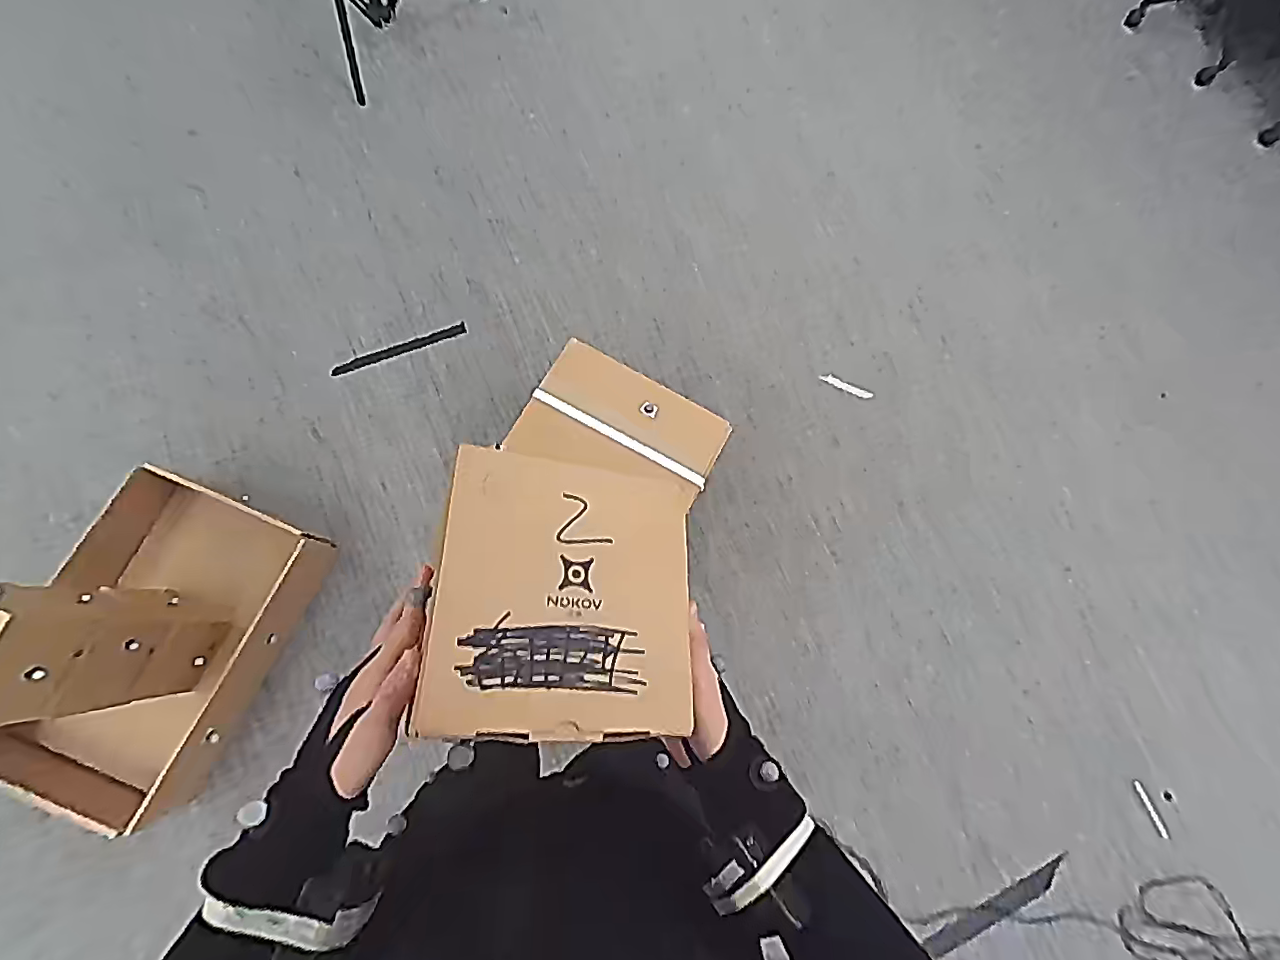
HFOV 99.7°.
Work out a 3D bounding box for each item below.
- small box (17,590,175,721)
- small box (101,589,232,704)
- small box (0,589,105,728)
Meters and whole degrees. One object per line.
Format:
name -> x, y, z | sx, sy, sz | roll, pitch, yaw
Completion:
small box -> -0.997, 0.304, 0.959 | 0.179, 0.176, 0.168 | 19, 74, 0
small box -> -1.011, 0.339, 1.117 | 0.179, 0.176, 0.168 | 24, 75, -1
small box -> -0.976, 0.260, 0.801 | 0.179, 0.176, 0.168 | 19, 73, -2
